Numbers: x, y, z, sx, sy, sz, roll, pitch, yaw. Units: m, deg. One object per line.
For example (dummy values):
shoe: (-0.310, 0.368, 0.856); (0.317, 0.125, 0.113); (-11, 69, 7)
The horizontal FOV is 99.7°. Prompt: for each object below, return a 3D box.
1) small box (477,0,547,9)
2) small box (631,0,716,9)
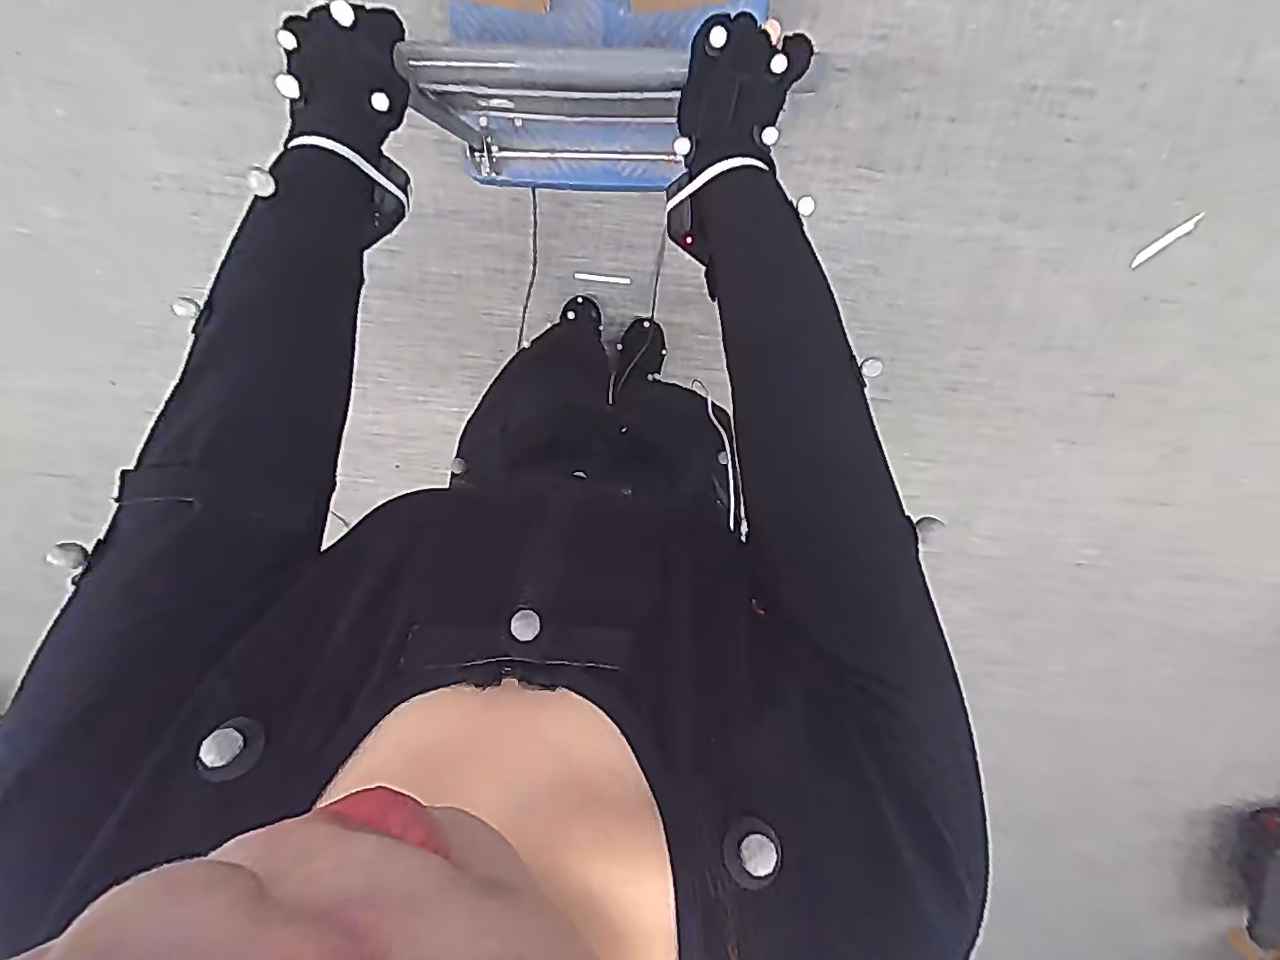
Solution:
small box: (-0.245, -0.896, 0.865); (0.179, 0.176, 0.168); (7, 113, -3)
small box: (0.060, -0.886, 0.857); (0.179, 0.176, 0.168); (-3, 114, 4)
